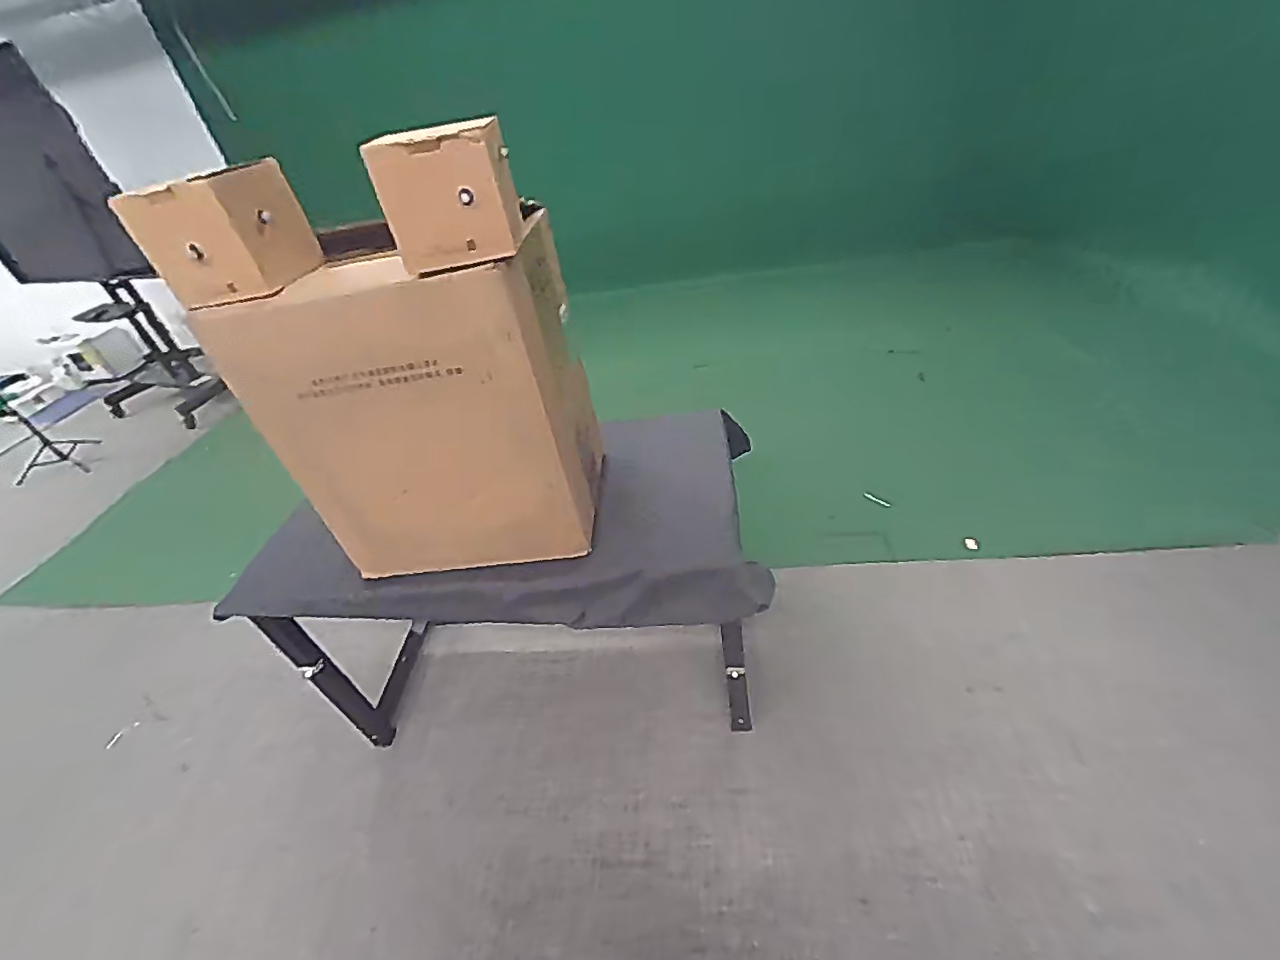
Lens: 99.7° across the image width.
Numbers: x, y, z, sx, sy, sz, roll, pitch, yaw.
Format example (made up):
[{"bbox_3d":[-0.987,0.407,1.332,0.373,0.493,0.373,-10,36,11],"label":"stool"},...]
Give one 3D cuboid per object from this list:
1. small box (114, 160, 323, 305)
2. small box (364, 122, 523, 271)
[{"bbox_3d":[-0.662,-0.396,0.879,0.168,0.176,0.179,-6,39,8],"label":"small box"},{"bbox_3d":[-0.282,-0.428,0.823,0.168,0.176,0.179,-9,37,-1],"label":"small box"}]
